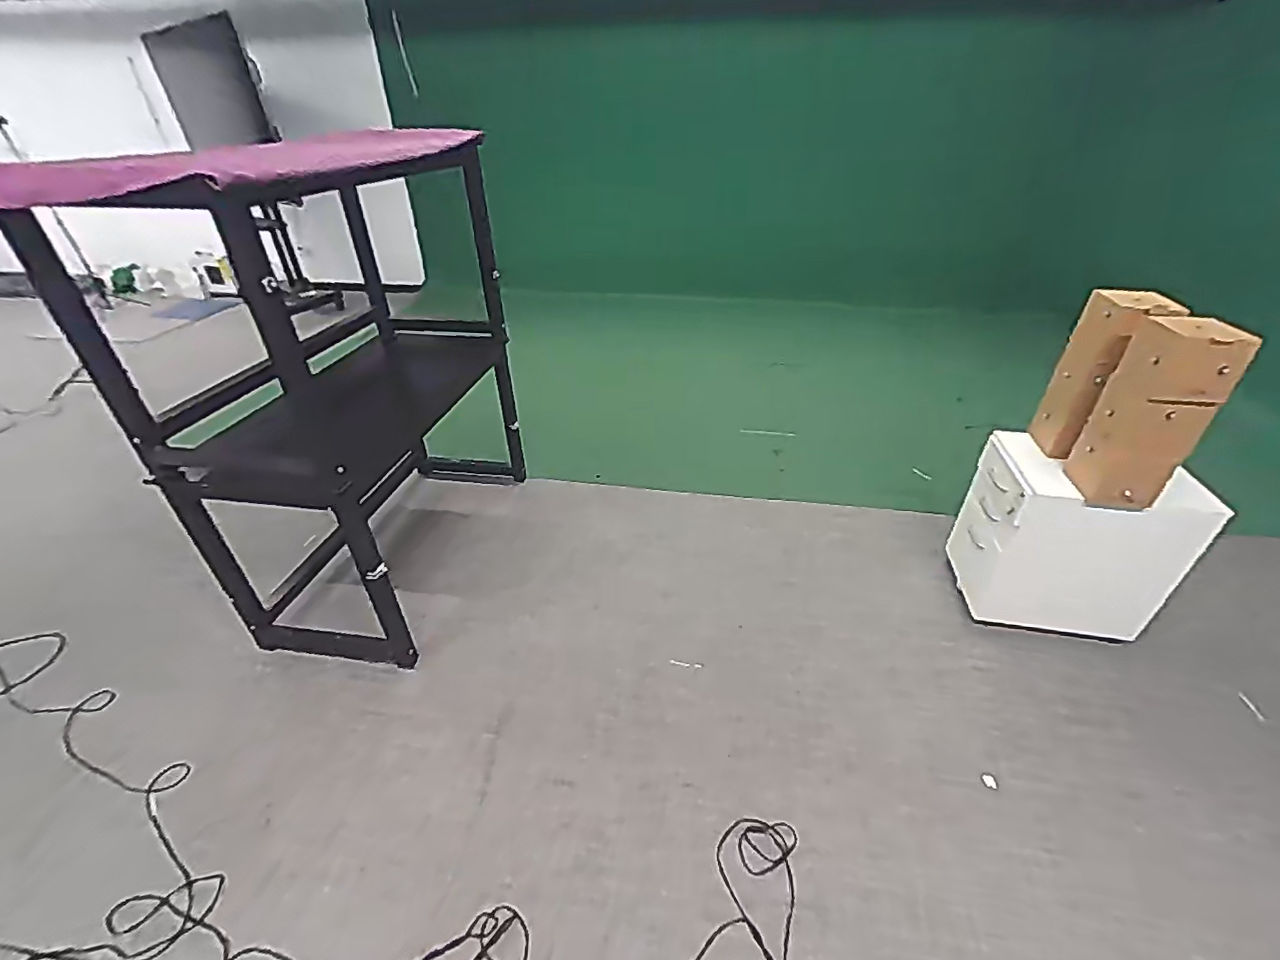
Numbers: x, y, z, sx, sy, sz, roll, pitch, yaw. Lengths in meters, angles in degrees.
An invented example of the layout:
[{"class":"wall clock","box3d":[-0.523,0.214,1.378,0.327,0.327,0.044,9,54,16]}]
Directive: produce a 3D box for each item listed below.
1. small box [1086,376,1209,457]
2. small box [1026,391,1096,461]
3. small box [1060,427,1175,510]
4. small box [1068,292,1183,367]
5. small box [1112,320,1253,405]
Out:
[{"class":"small box","box3d":[1.393,-0.176,1.503,0.179,0.176,0.168,5,35,7]},{"class":"small box","box3d":[1.423,-0.175,1.792,0.168,0.176,0.179,6,36,10]},{"class":"small box","box3d":[1.388,-0.036,1.590,0.168,0.176,0.179,6,35,10]},{"class":"small box","box3d":[1.423,-0.443,1.604,0.168,0.176,0.179,7,37,9]},{"class":"small box","box3d":[1.393,-0.306,1.404,0.168,0.176,0.179,6,33,9]}]
